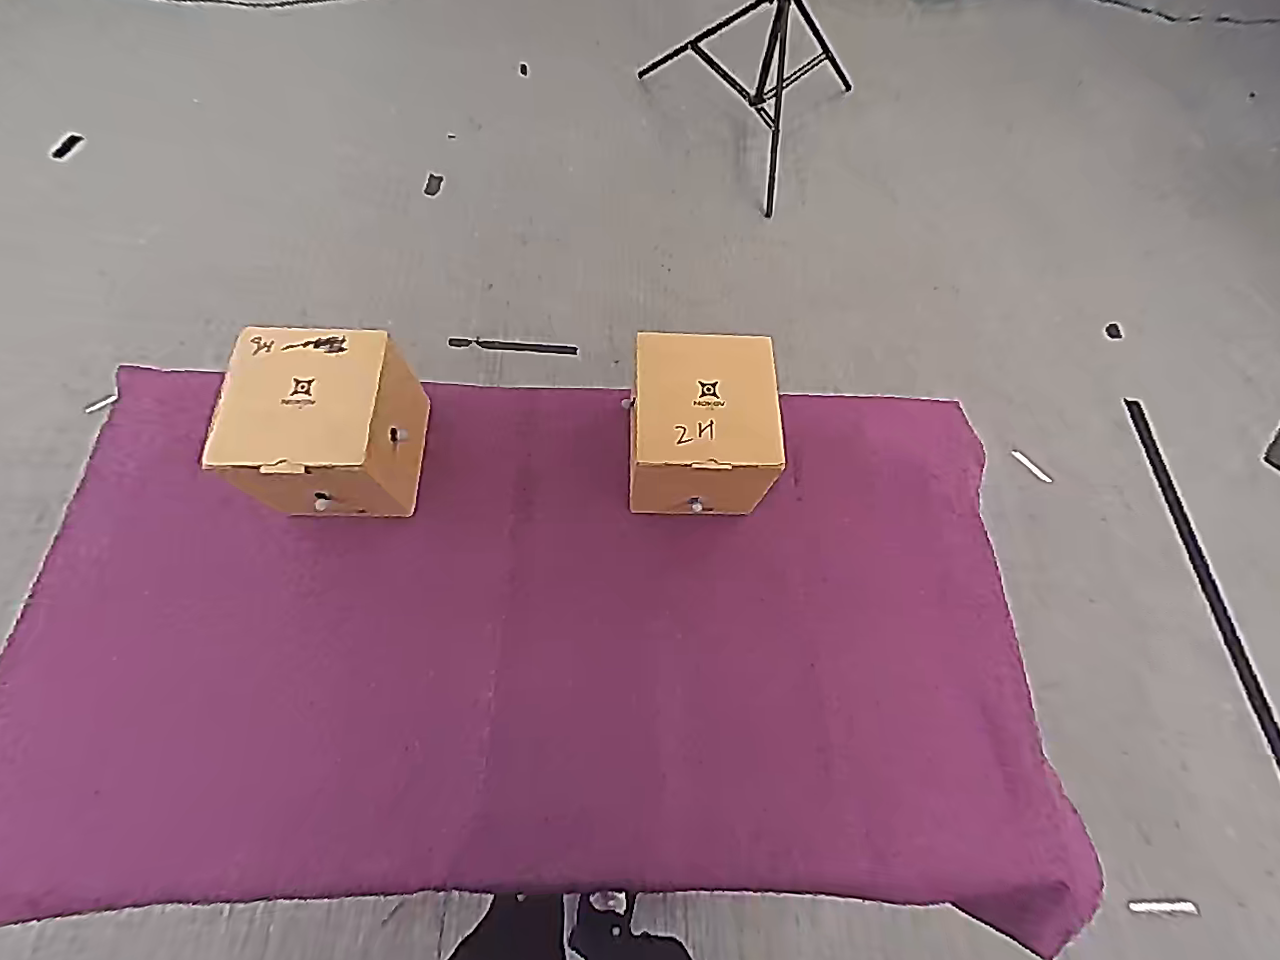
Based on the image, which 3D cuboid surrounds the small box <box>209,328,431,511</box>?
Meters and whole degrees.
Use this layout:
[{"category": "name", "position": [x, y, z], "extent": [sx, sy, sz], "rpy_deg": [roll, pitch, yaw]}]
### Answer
[{"category": "small box", "position": [-0.372, -0.064, 0.669], "extent": [0.168, 0.176, 0.179], "rpy_deg": [1, 69, -4]}]

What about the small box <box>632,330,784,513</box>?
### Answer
[{"category": "small box", "position": [0.075, -0.069, 0.698], "extent": [0.168, 0.176, 0.179], "rpy_deg": [1, 68, -2]}]
